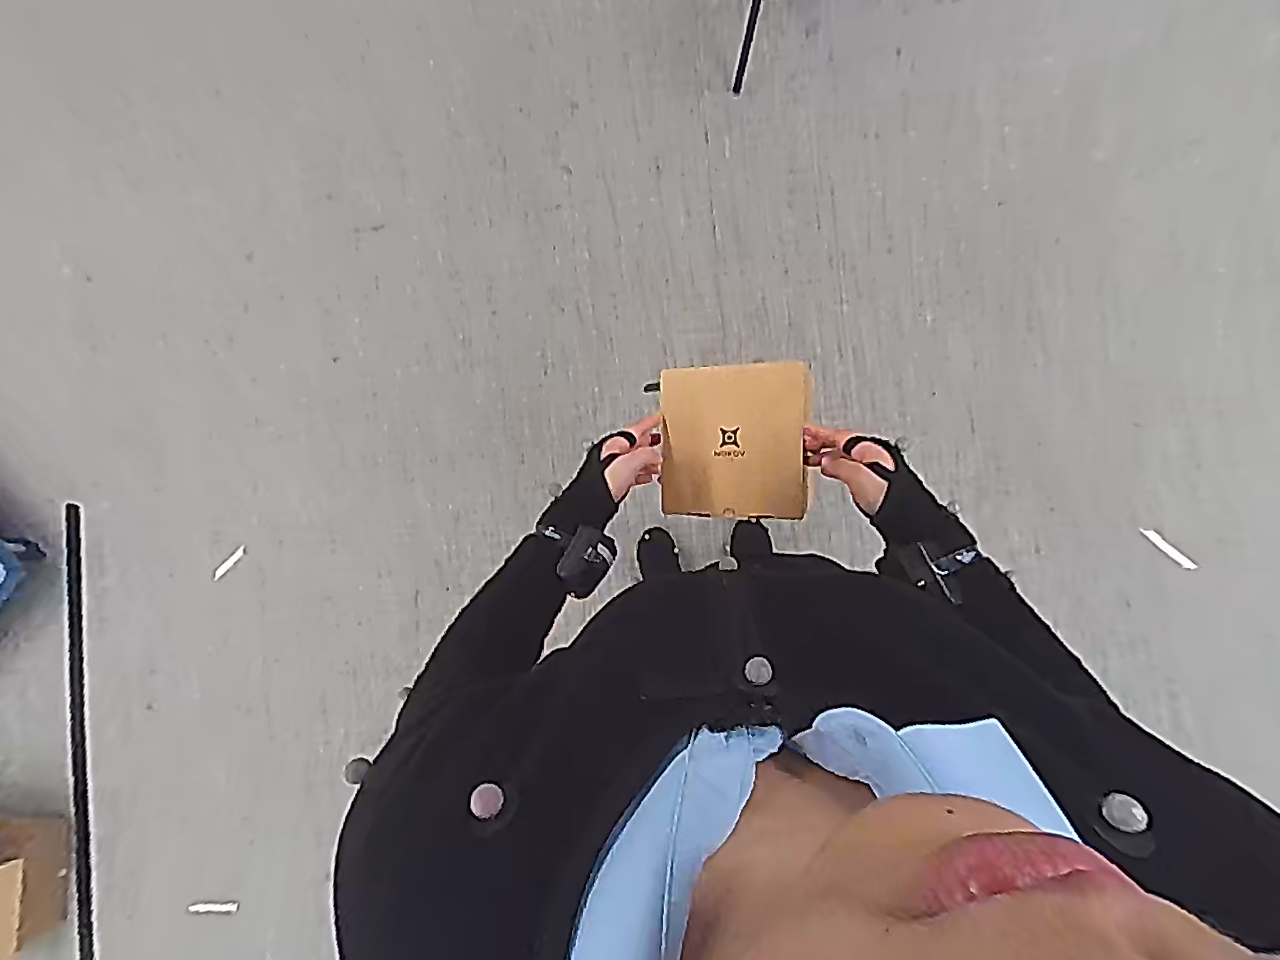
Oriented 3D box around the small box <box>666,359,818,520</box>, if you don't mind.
[{"bbox_3d":[0.134,-0.049,0.684,0.168,0.176,0.179,0,95,20],"label":"small box"}]
